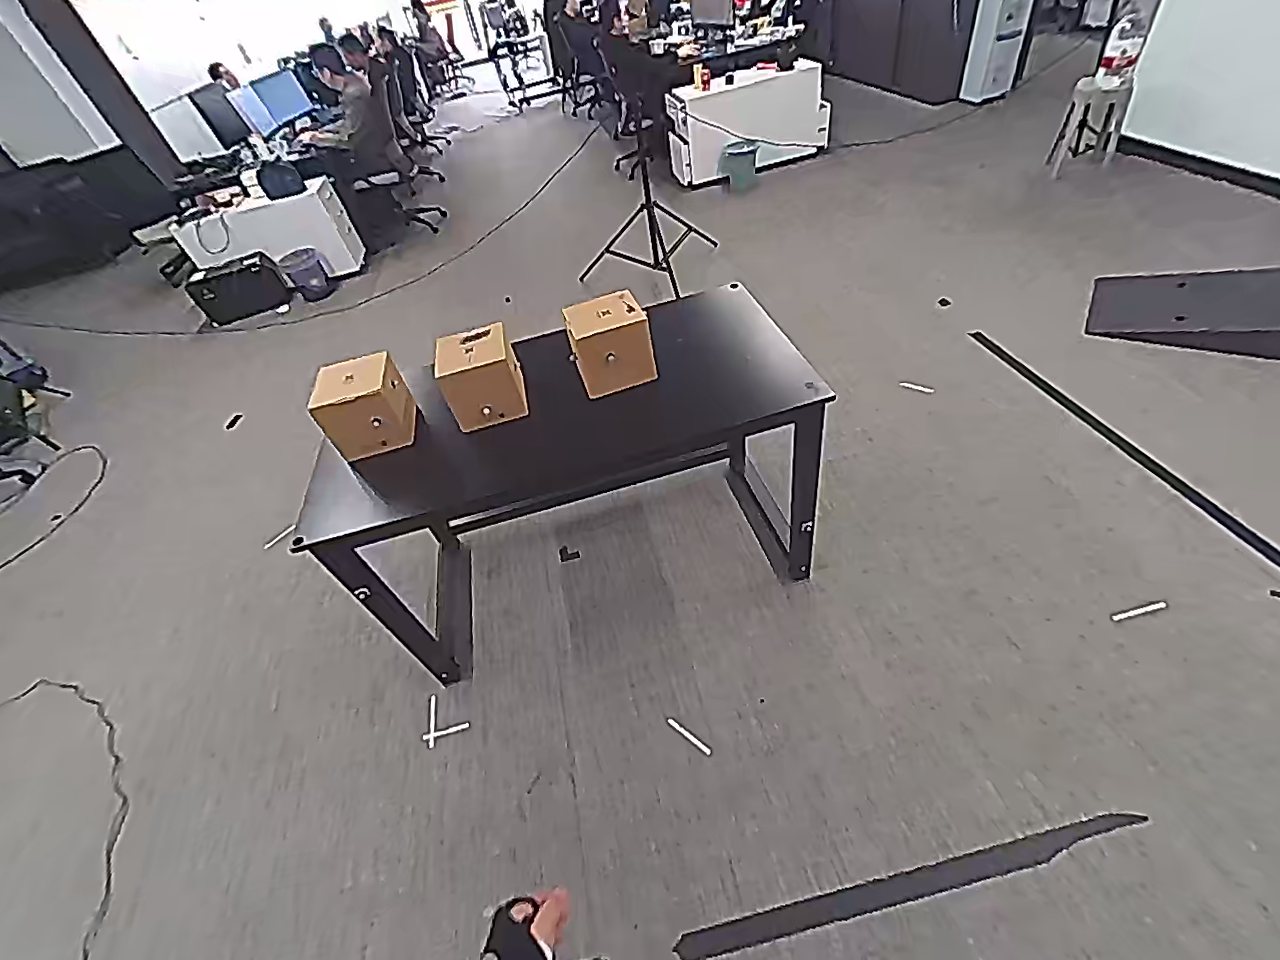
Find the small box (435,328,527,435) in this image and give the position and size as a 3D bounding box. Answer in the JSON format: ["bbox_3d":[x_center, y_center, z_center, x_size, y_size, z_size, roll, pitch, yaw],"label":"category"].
[{"bbox_3d":[-0.385,-0.239,1.321,0.168,0.176,0.179,-16,46,-3],"label":"small box"}]

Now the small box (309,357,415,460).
[{"bbox_3d":[-0.663,-0.167,1.315,0.168,0.176,0.179,-16,44,-5],"label":"small box"}]

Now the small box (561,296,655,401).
[{"bbox_3d":[-0.078,-0.320,1.331,0.179,0.176,0.168,-19,45,-5],"label":"small box"}]
